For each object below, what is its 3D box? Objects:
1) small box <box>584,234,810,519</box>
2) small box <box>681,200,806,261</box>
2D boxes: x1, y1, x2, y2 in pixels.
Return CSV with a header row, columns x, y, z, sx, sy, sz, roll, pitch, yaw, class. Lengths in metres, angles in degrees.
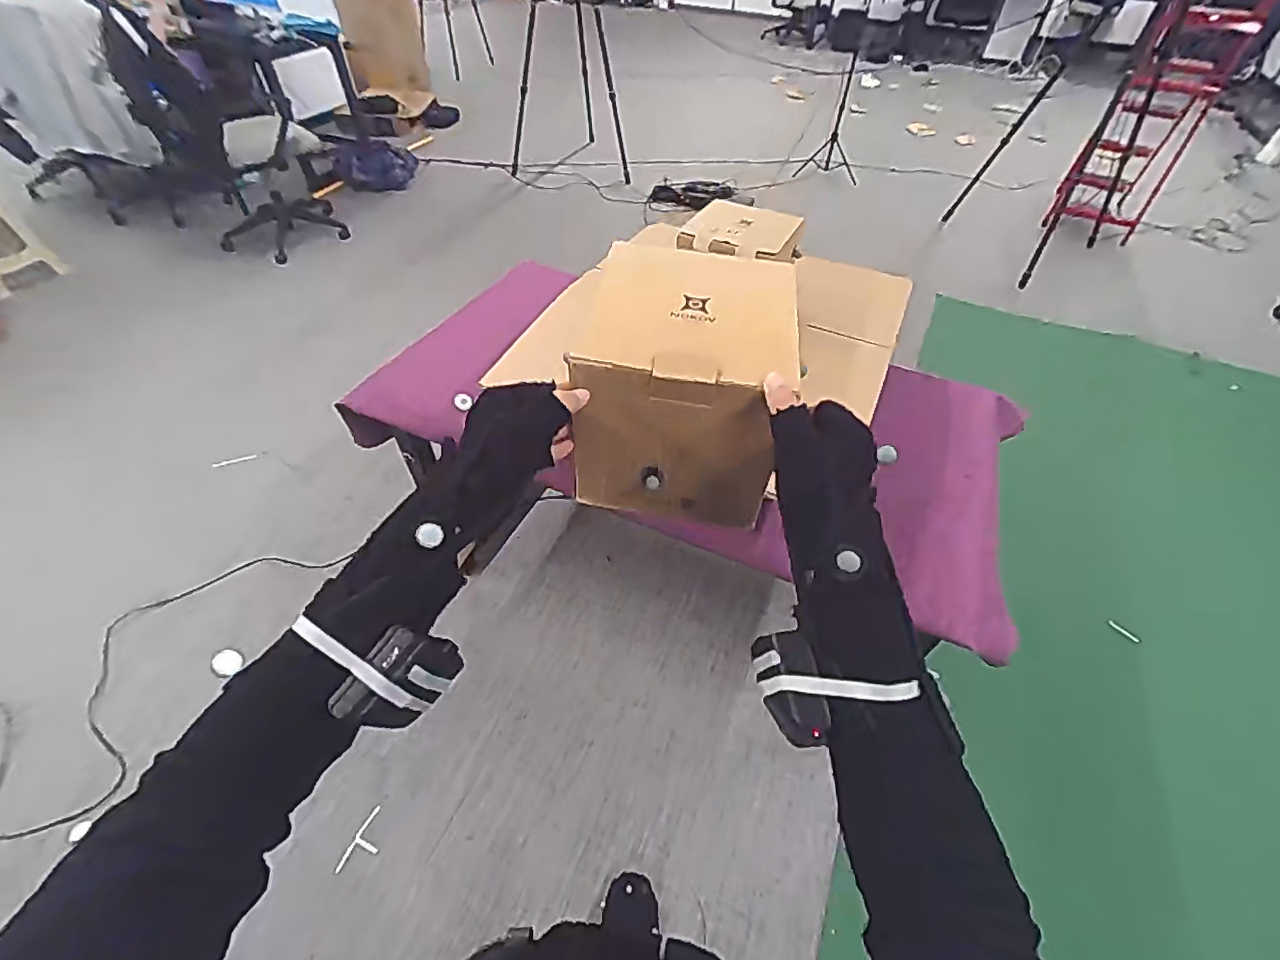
x,y,z,sx,sy,sz,roll,pitch,yaw,class
0.046,-0.091,0.492,0.168,0.176,0.179,9,52,2,small box
0.169,-0.361,0.949,0.168,0.176,0.179,22,50,16,small box
